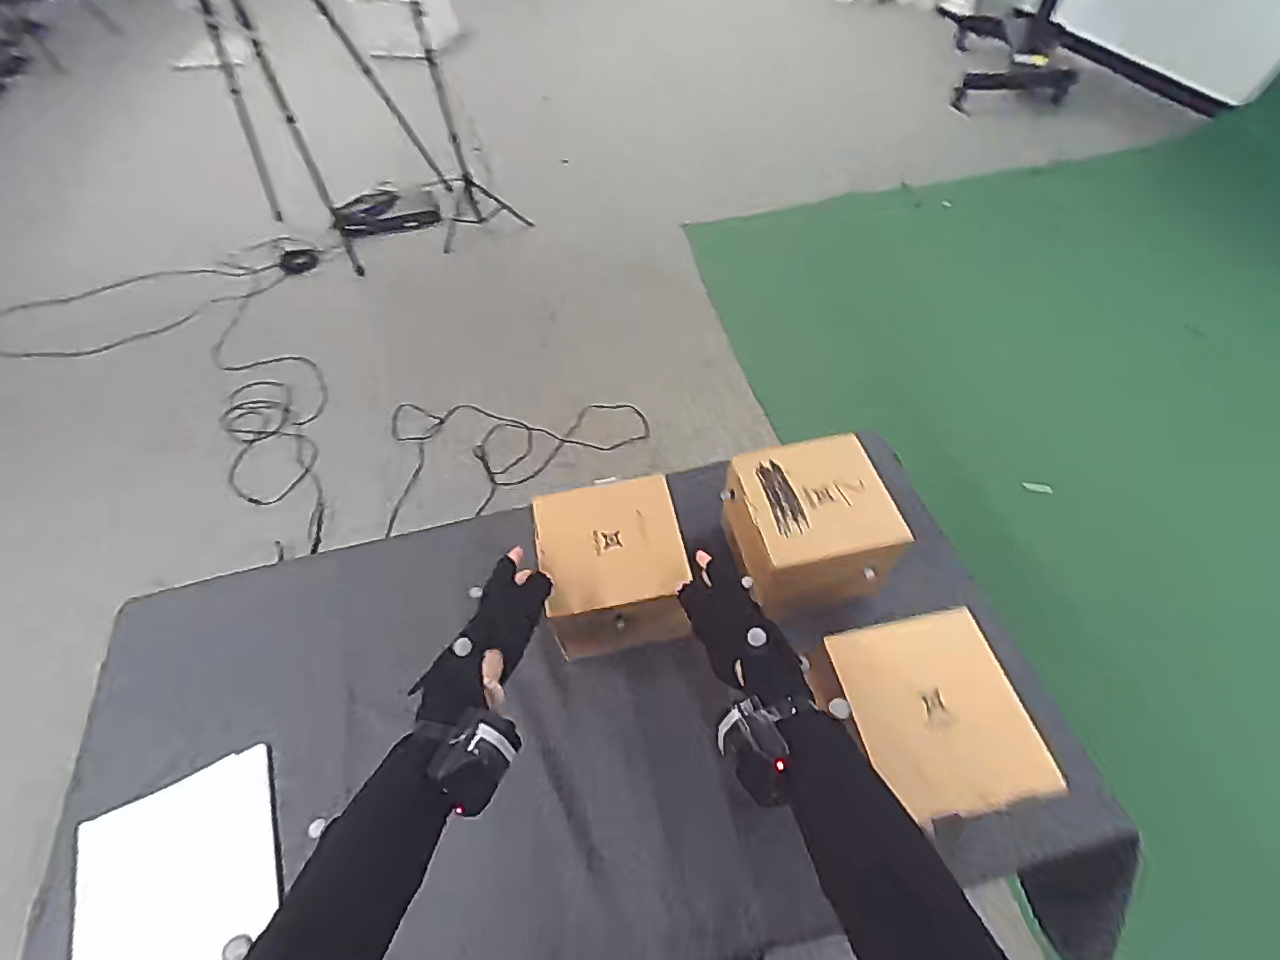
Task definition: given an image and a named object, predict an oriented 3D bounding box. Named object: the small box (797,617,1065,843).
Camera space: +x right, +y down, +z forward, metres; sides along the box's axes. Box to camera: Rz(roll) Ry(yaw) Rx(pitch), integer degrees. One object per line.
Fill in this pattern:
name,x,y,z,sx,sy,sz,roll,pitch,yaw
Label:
small box,0.287,0.275,0.588,0.168,0.176,0.179,-10,55,-4
